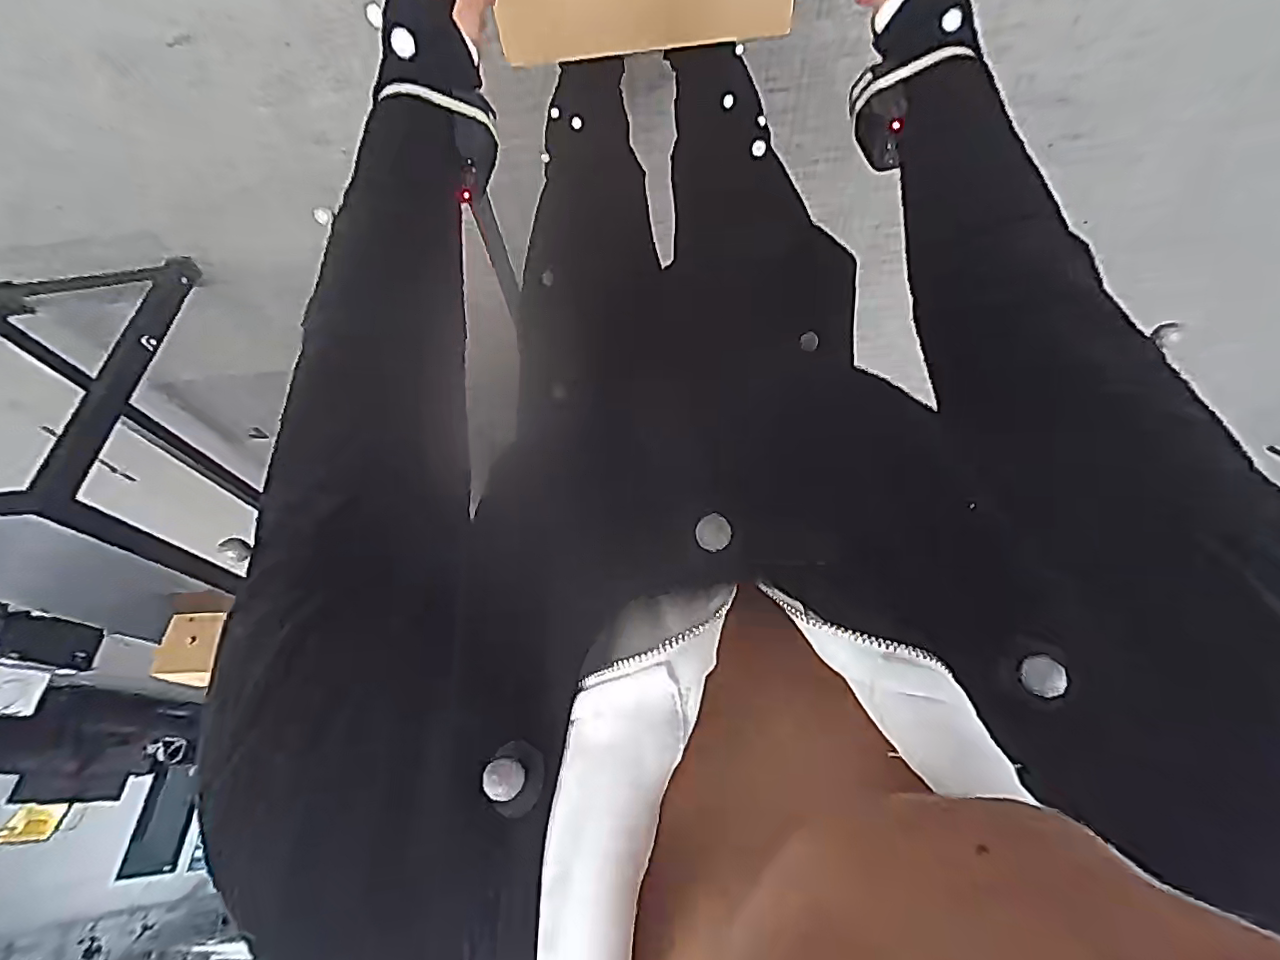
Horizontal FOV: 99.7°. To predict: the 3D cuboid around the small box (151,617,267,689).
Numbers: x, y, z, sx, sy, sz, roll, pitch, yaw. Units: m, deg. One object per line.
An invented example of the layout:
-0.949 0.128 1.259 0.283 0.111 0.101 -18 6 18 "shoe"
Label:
-1.233 0.498 1.562 0.168 0.176 0.179 -3 150 3 "small box"
